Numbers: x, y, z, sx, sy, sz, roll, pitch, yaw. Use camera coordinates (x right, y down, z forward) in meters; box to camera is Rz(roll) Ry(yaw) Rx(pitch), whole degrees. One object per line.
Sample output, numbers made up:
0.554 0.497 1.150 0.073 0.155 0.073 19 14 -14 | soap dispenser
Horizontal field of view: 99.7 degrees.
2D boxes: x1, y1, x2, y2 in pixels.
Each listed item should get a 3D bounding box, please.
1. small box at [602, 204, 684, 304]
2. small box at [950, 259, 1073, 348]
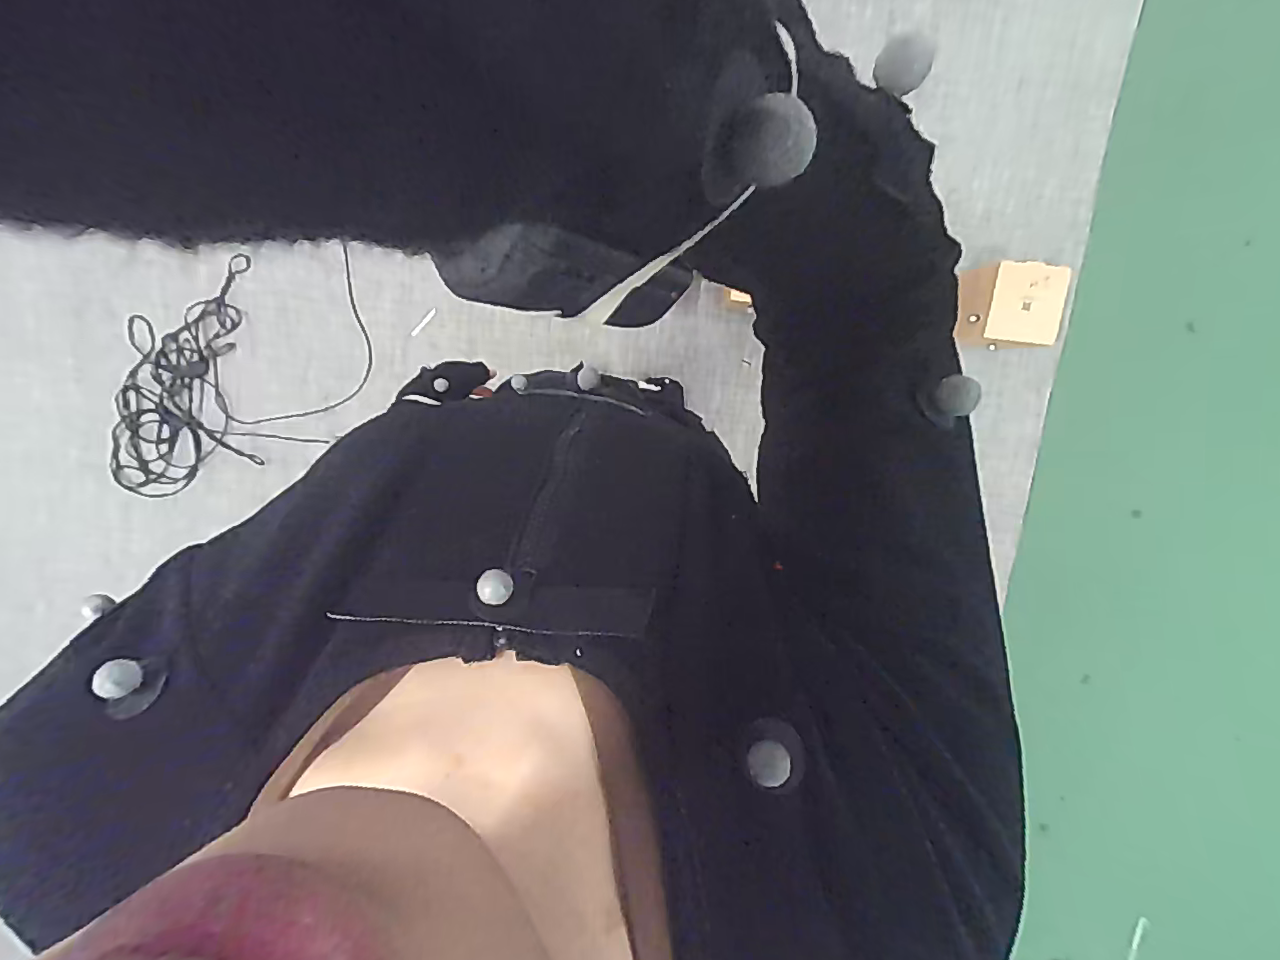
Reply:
0.007 -0.534 1.297 0.168 0.176 0.179 8 101 0 | small box
0.883 -0.416 1.305 0.168 0.176 0.179 6 100 -1 | small box
